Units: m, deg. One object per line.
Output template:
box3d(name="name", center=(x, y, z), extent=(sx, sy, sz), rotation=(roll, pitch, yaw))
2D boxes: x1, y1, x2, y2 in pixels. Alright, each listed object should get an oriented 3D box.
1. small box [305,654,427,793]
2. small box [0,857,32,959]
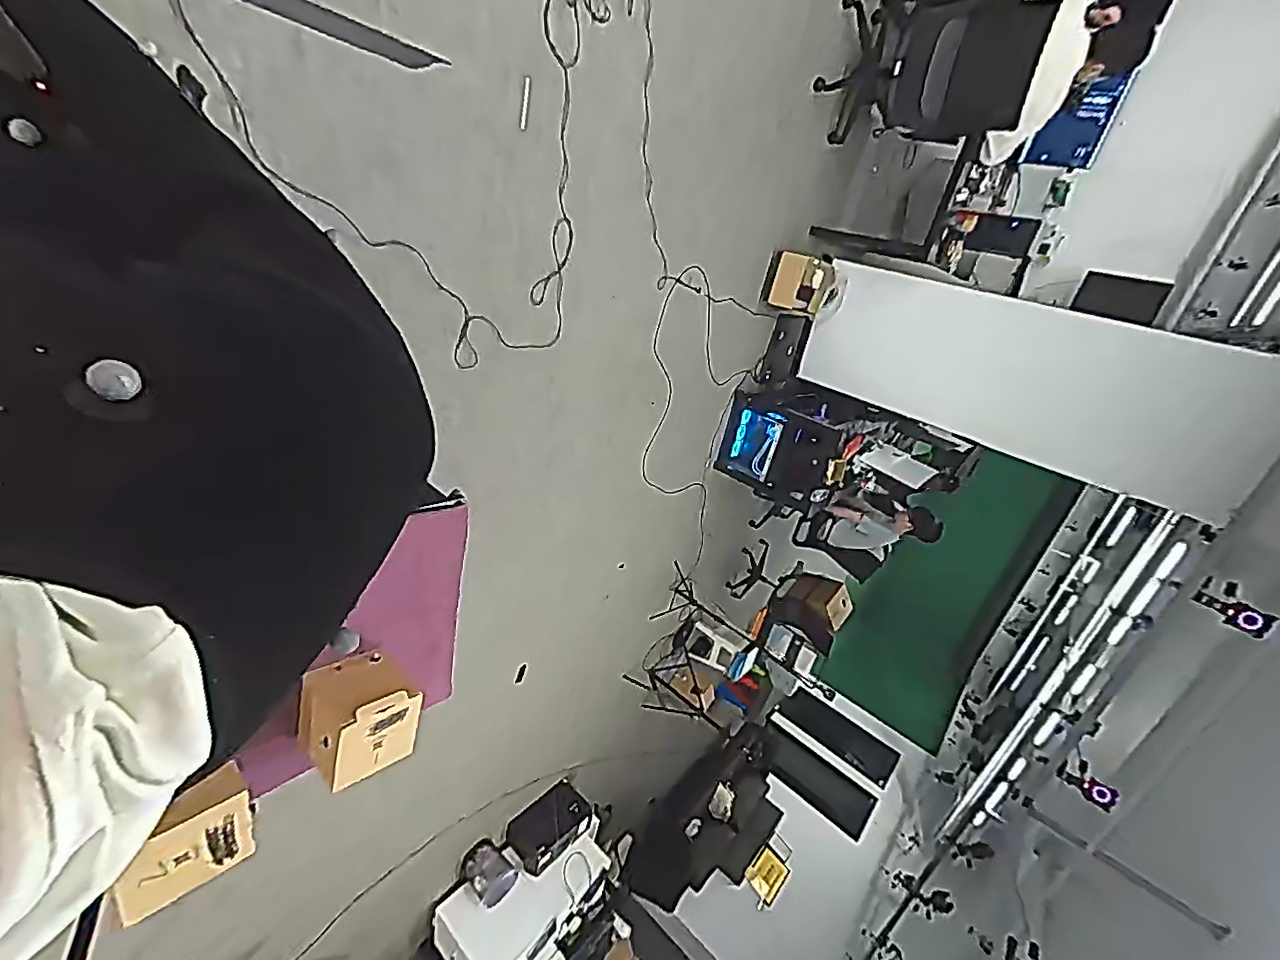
box3d(name="small box", center=(-0.572, 0.489, 1.124), extent=(0.168, 0.176, 0.179), rotation=(-9, 122, -51))
box3d(name="small box", center=(-0.950, 0.638, 0.710), extent=(0.179, 0.176, 0.168), rotation=(-17, 126, -49))
